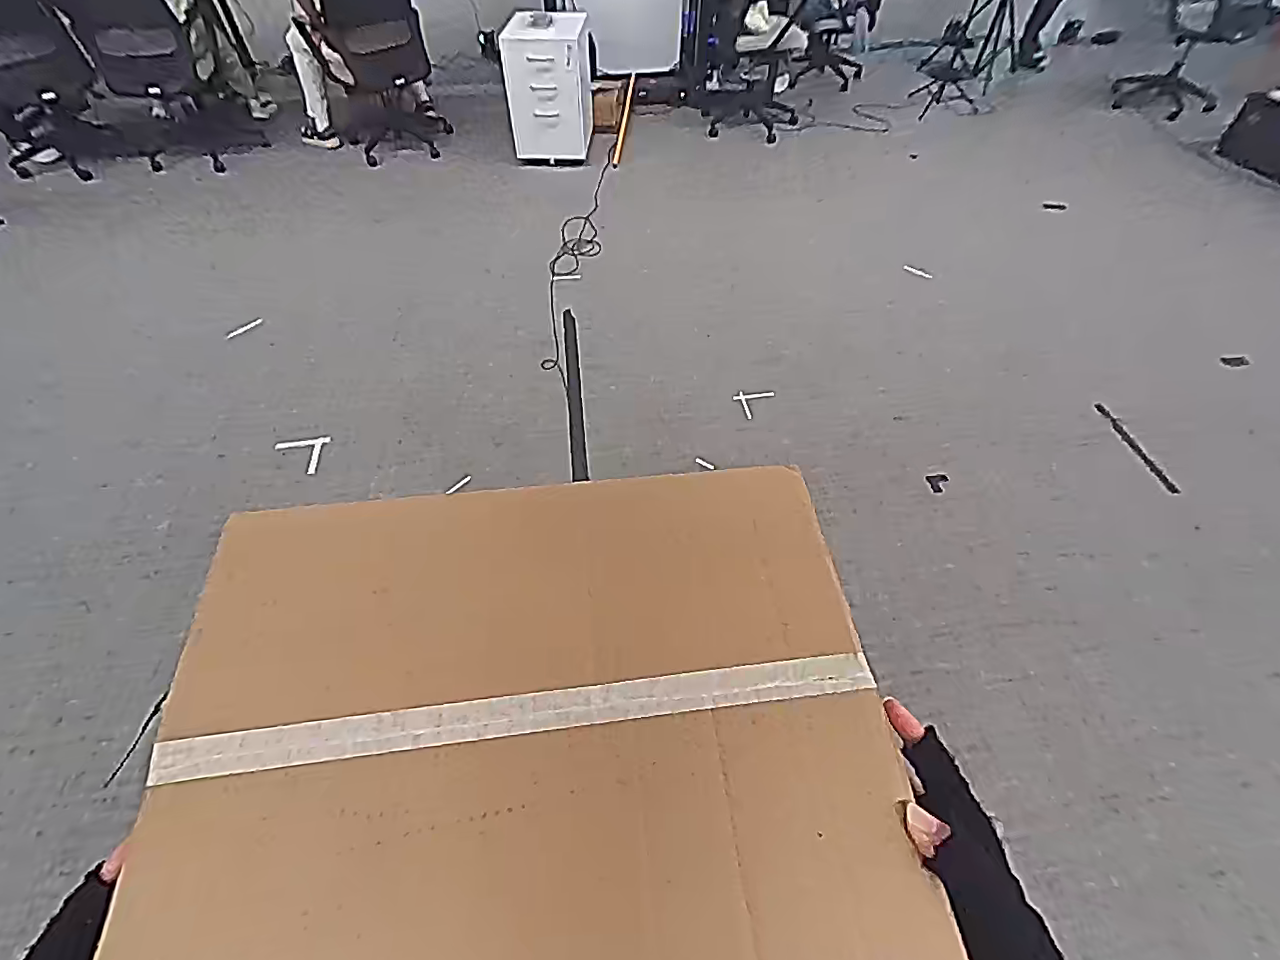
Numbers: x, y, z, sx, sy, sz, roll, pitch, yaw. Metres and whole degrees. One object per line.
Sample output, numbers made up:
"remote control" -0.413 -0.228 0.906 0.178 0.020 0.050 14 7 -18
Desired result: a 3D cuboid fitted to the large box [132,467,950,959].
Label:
"large box" -0.065 0.217 0.452 0.408 0.320 0.320 -5 58 -6
